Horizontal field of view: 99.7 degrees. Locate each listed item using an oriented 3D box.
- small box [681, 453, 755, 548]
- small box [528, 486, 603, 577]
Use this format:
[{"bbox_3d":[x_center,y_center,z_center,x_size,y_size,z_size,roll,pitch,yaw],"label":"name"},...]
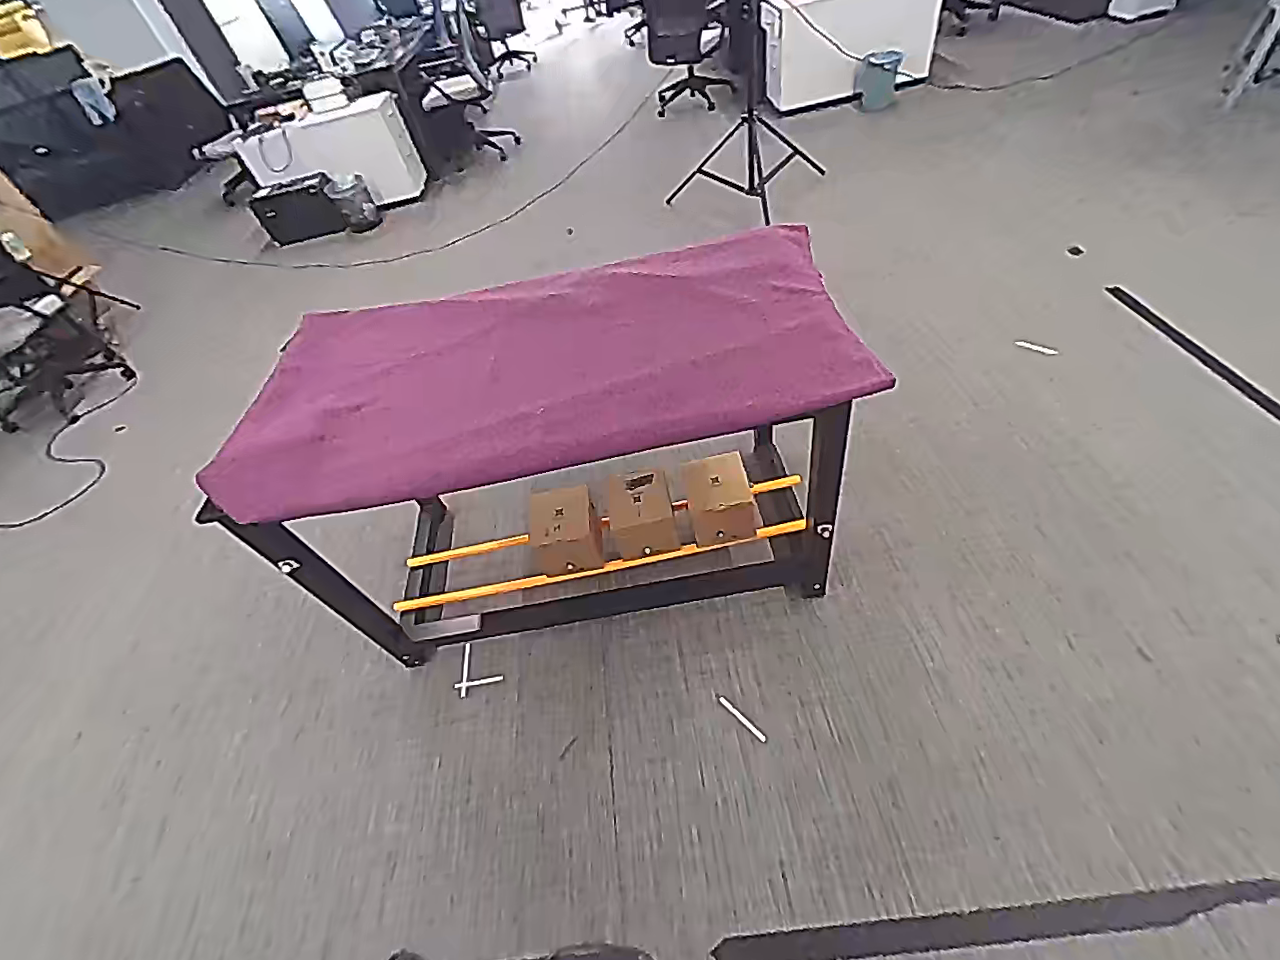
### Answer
[{"bbox_3d":[0.210,0.057,1.465,0.168,0.176,0.179,-12,50,4],"label":"small box"},{"bbox_3d":[-0.200,0.144,1.492,0.168,0.176,0.179,-10,50,5],"label":"small box"}]
